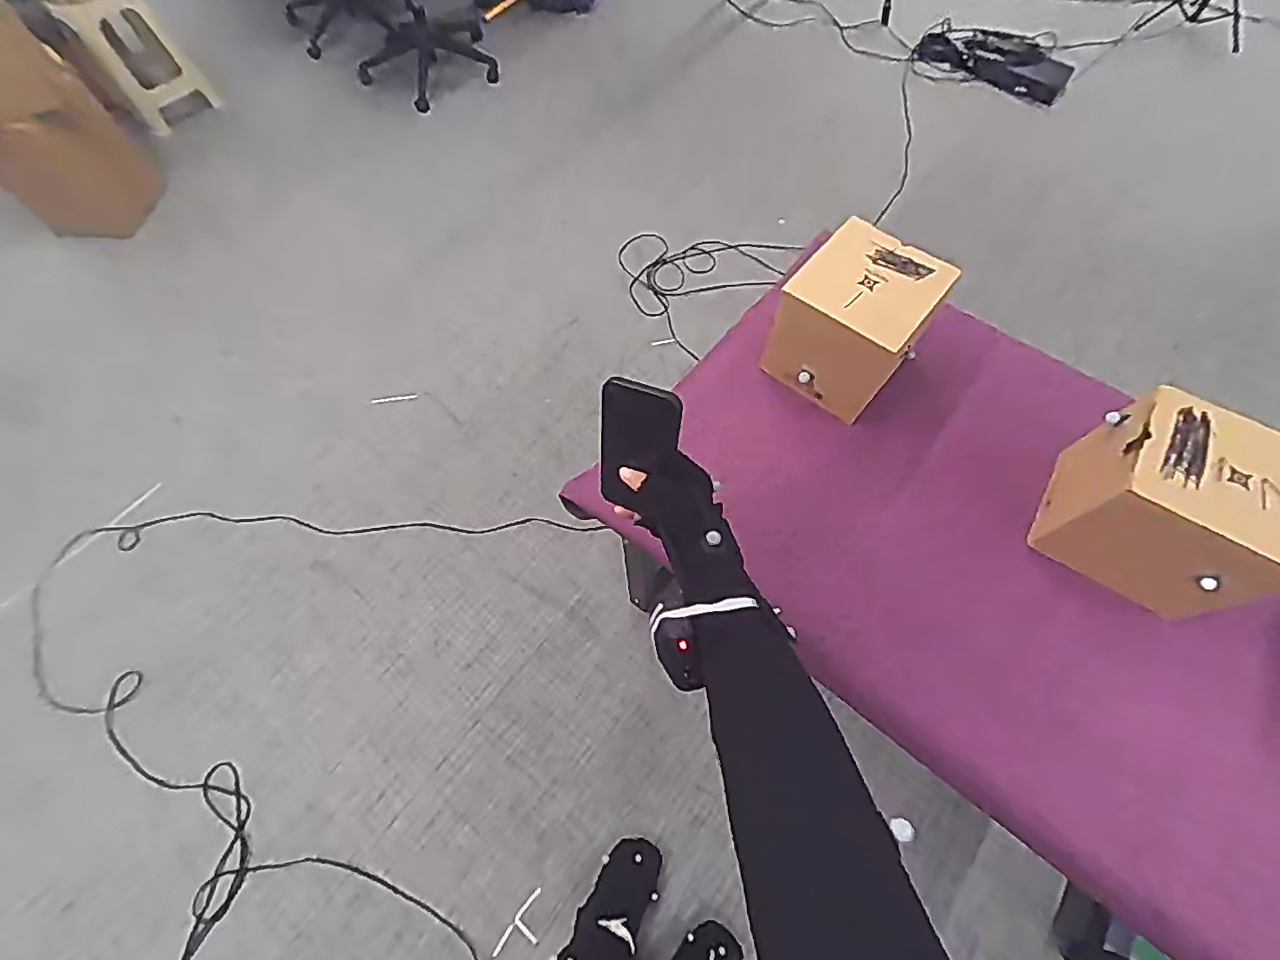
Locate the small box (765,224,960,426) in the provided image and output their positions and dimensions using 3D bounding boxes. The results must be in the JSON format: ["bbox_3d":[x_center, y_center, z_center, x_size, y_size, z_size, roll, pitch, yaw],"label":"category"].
[{"bbox_3d":[0.298,-0.213,0.764,0.168,0.176,0.179,38,71,17],"label":"small box"}]
